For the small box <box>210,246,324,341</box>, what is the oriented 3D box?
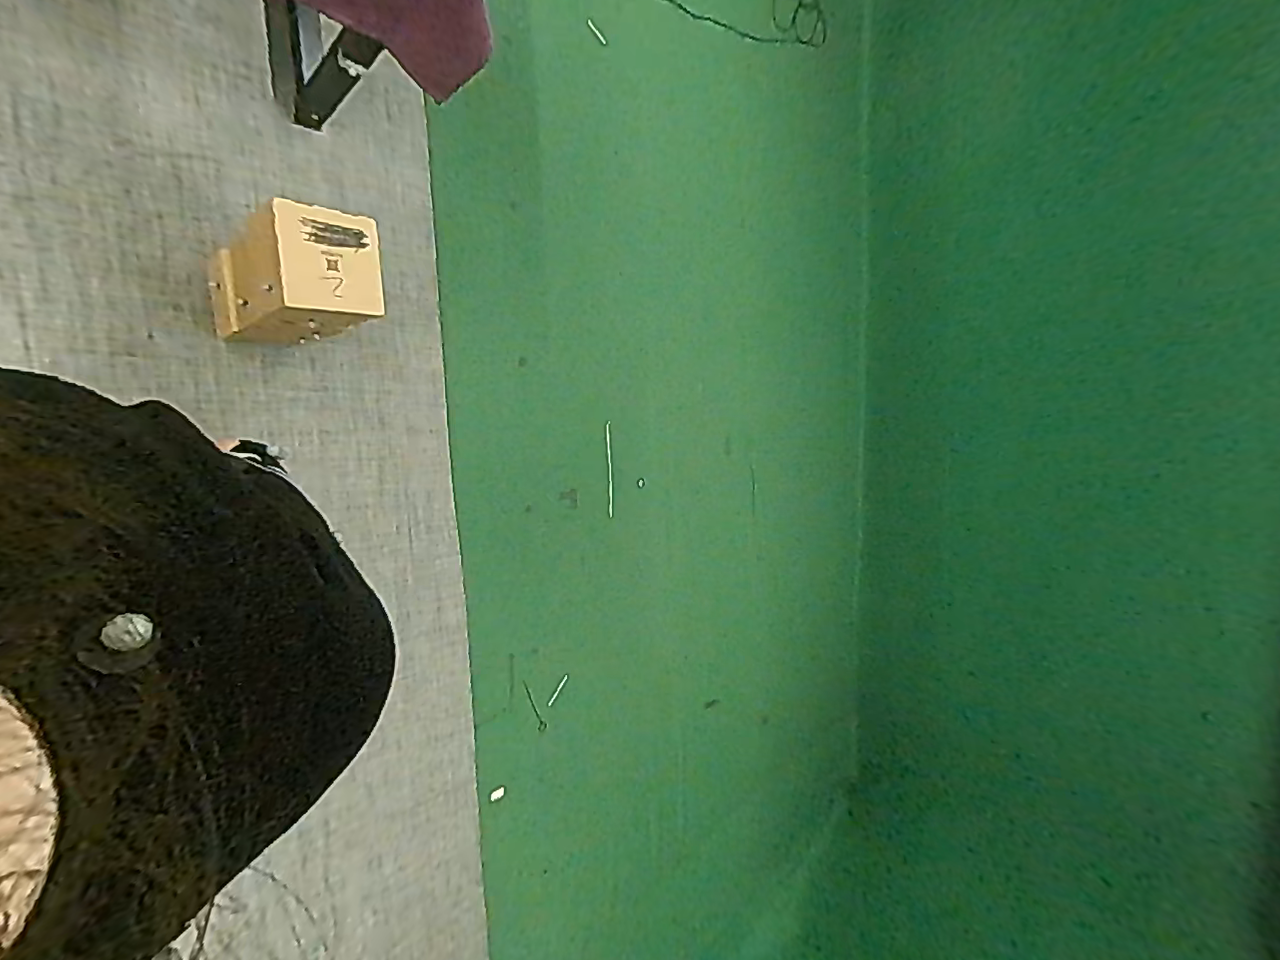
[{"bbox_3d":[-0.843,-0.409,1.218,0.179,0.176,0.168,-12,102,-46],"label":"small box"}]
